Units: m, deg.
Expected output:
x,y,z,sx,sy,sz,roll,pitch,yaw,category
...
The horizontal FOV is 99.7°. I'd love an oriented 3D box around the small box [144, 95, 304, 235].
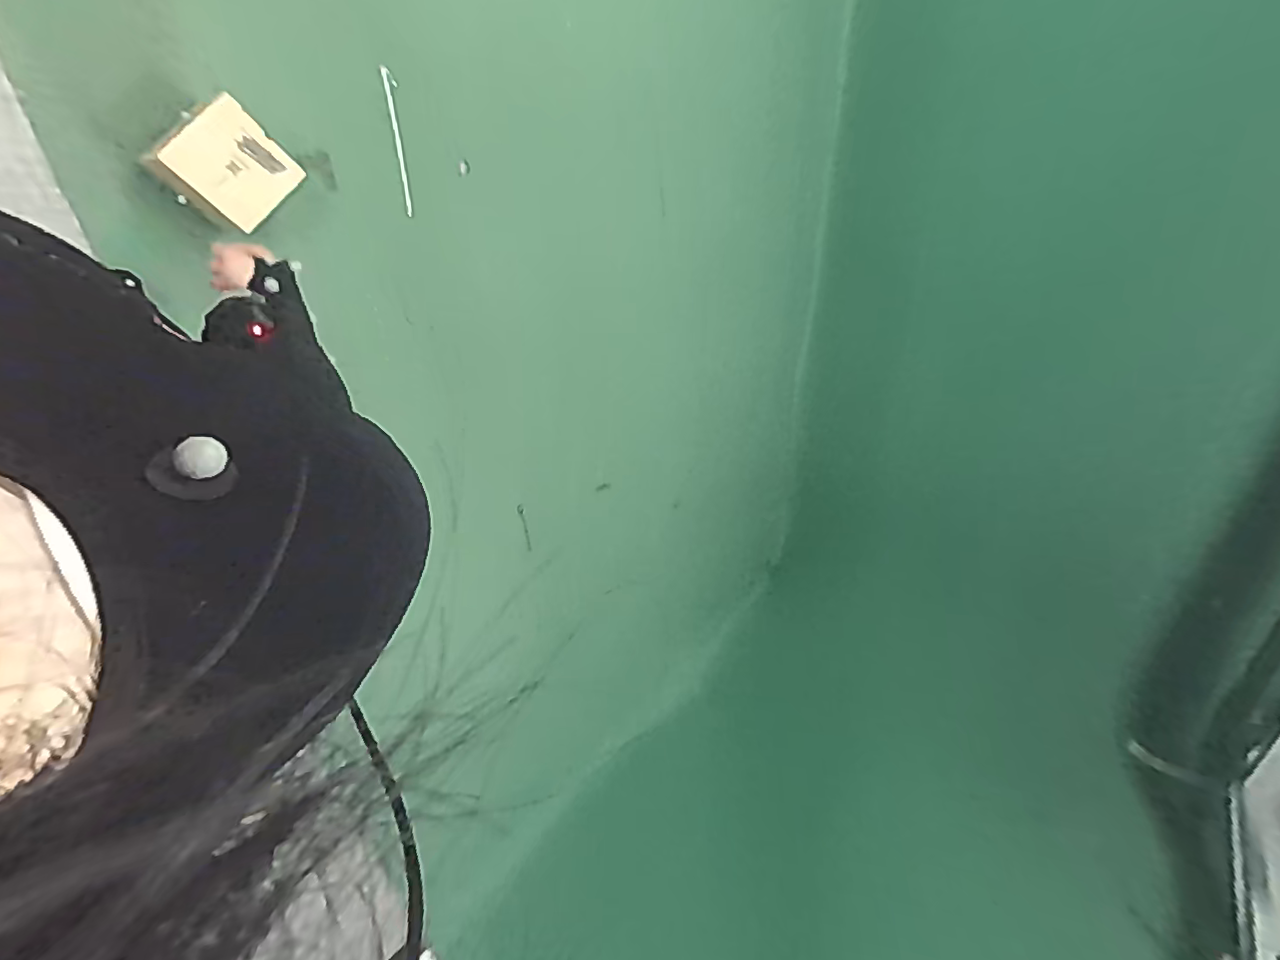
x,y,z,sx,sy,sz,roll,pitch,yaw,category
-0.814,-0.609,1.056,0.179,0.176,0.168,-57,142,-13,small box
